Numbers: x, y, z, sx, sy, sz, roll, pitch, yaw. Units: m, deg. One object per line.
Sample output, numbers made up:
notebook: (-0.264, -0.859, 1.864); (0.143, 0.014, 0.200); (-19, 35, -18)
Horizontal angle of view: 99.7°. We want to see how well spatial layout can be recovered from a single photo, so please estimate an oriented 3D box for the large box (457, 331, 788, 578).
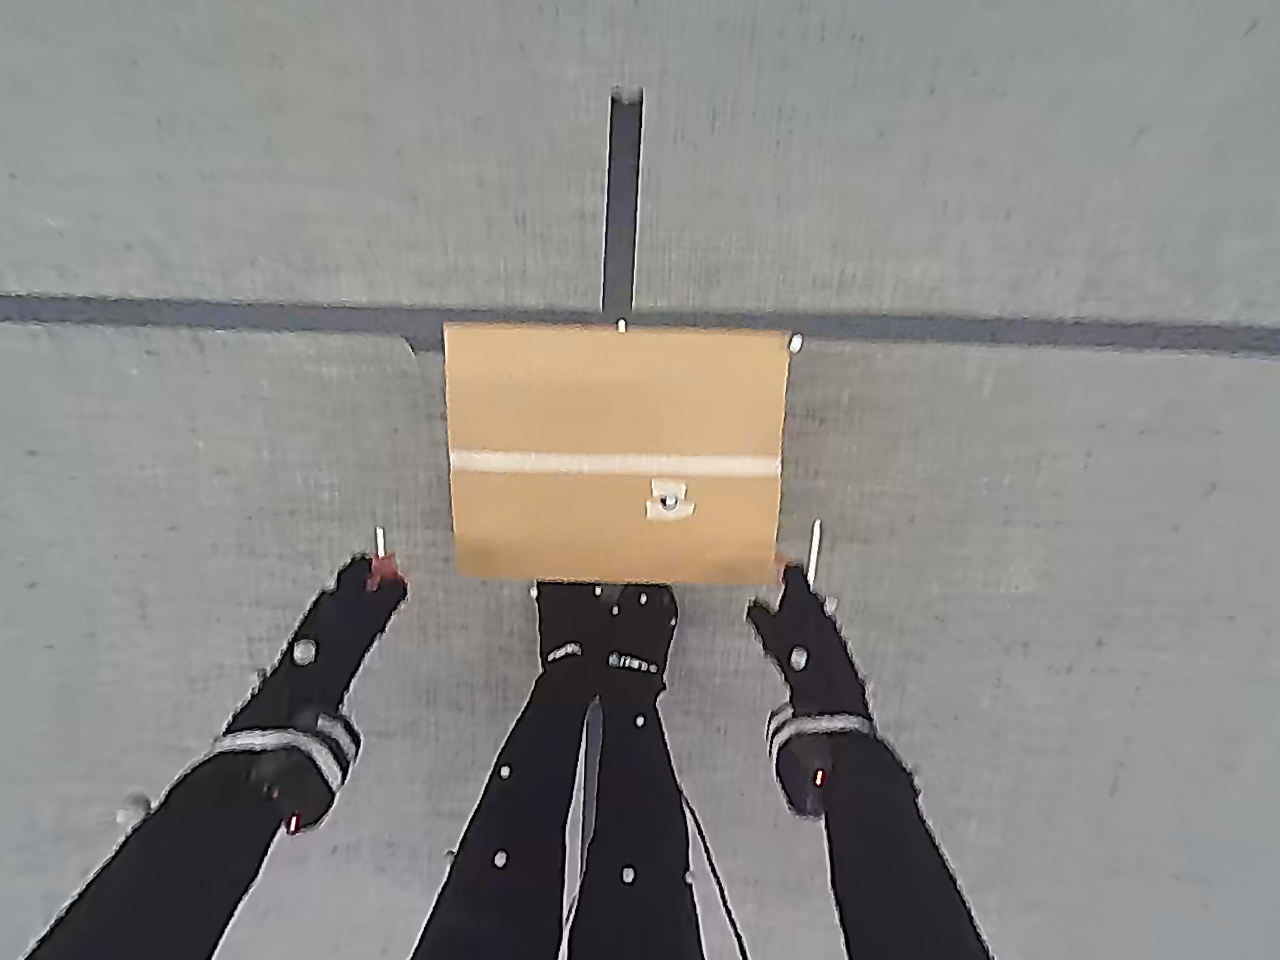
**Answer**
large box: (-0.025, -0.052, 0.820); (0.408, 0.320, 0.320); (1, 102, -1)
